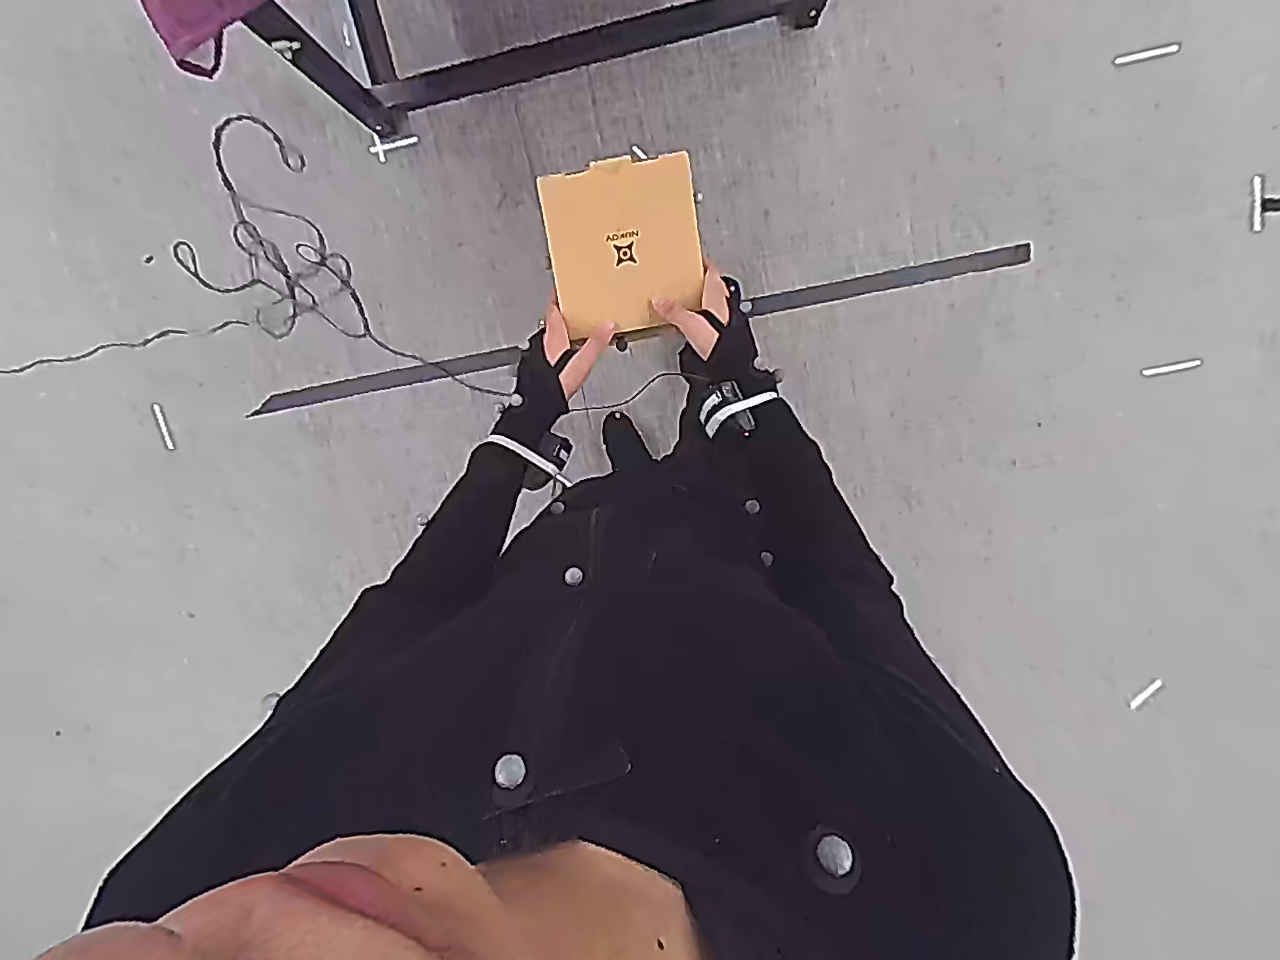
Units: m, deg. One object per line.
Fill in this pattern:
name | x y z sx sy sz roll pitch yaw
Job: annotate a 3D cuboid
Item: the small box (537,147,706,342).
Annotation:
small box | -0.017 -0.272 0.670 0.168 0.176 0.179 -10 98 2
